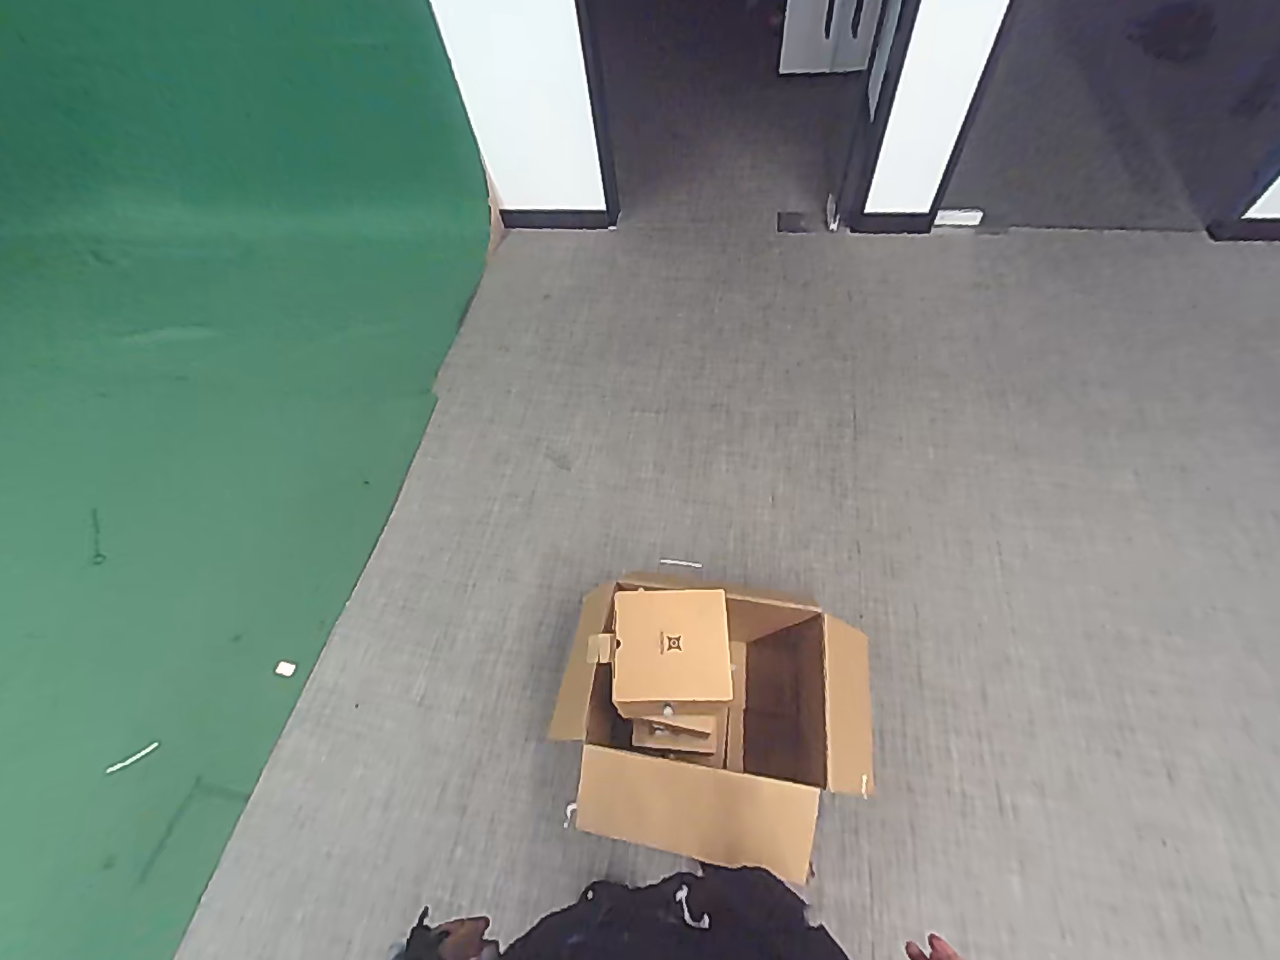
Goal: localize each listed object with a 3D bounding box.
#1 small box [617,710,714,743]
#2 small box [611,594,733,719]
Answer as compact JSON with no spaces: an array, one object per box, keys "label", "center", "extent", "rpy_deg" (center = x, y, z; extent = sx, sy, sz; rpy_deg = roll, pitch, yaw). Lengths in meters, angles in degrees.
[{"label":"small box","center":[0.059,0.379,1.014],"extent":[0.168,0.176,0.179],"rpy_deg":[10,62,9]},{"label":"small box","center":[0.050,0.289,0.878],"extent":[0.179,0.176,0.168],"rpy_deg":[-2,60,3]}]
